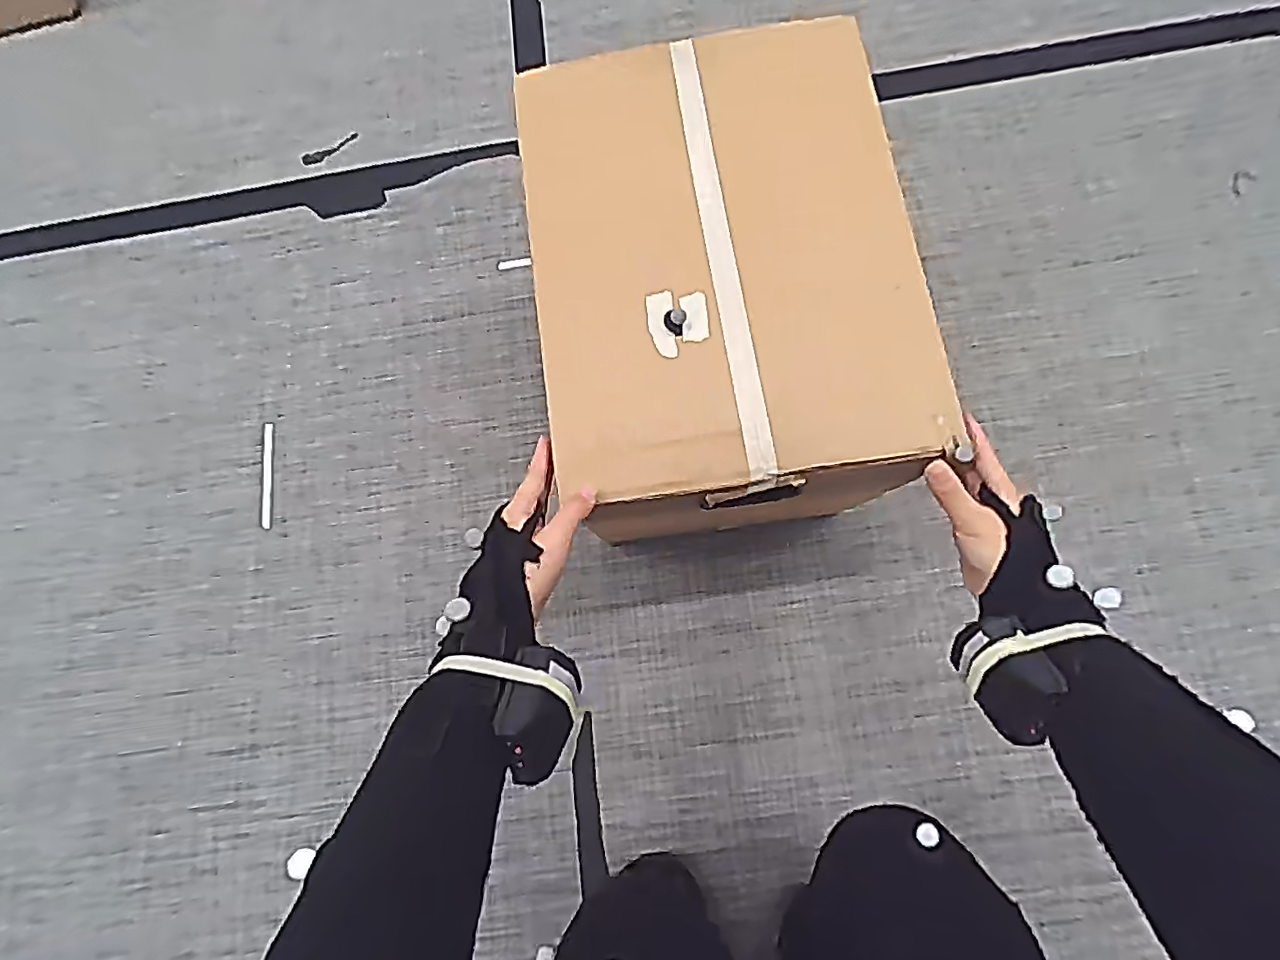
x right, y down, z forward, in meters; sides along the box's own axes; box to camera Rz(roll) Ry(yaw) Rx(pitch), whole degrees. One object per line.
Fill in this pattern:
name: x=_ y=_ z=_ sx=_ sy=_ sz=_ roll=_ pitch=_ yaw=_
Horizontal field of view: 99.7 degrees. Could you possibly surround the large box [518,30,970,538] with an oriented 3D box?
large box: x=0.077 y=-0.167 z=0.598 sx=0.320 sy=0.320 sz=0.408 roll=-9 pitch=78 yaw=2
